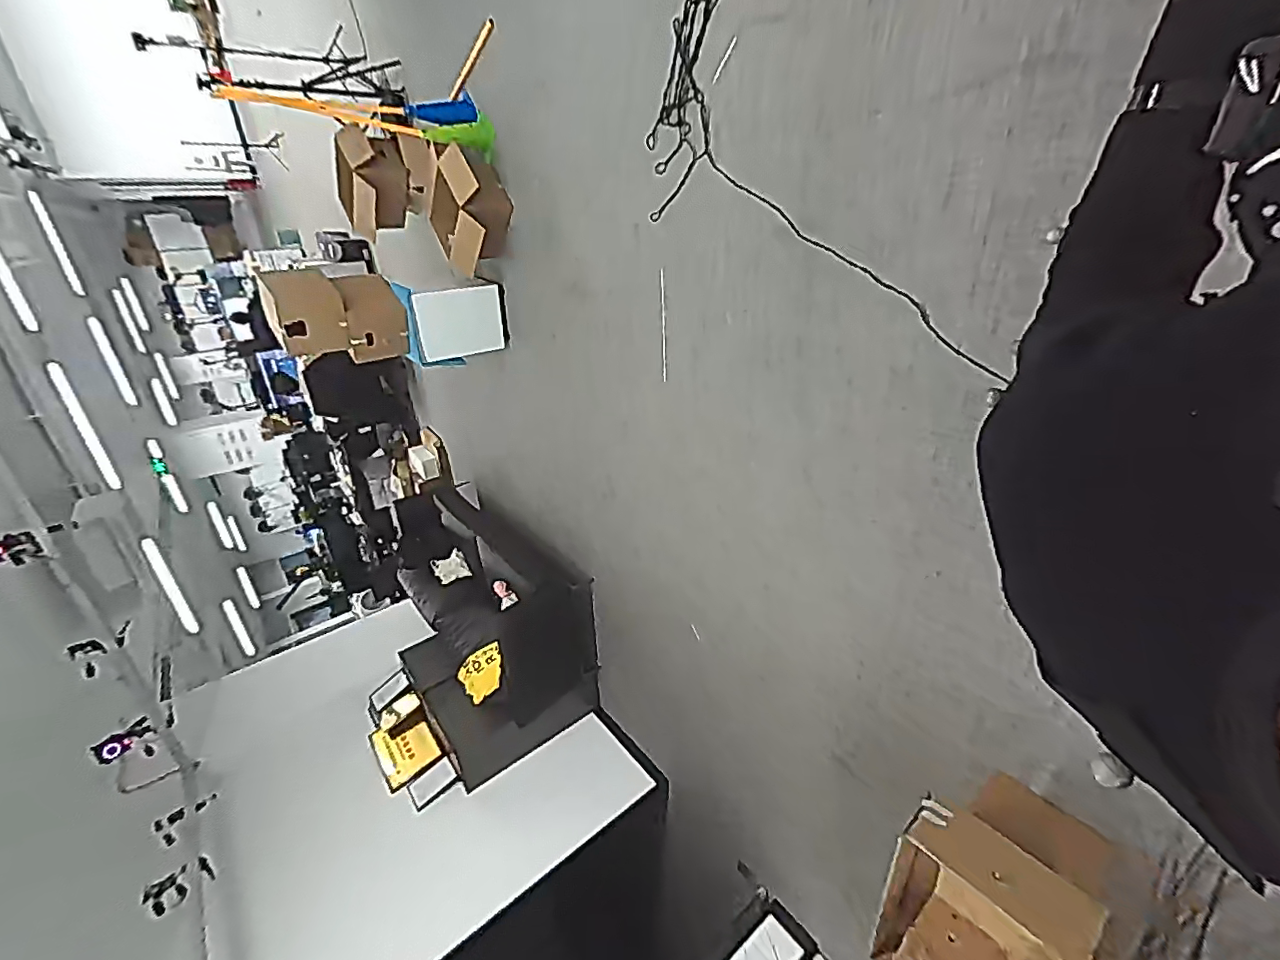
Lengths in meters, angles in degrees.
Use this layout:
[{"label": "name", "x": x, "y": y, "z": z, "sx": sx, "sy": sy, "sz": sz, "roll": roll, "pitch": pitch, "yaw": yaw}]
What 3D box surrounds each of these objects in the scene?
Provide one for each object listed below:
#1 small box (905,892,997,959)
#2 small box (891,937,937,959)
[{"label": "small box", "x": 0.819, "y": 1.262, "z": 1.439, "sx": 0.168, "sy": 0.176, "sz": 0.179, "roll": 23, "pitch": 122, "yaw": 48}, {"label": "small box", "x": 0.696, "y": 1.302, "z": 1.338, "sx": 0.168, "sy": 0.176, "sz": 0.179, "roll": 20, "pitch": 122, "yaw": 49}]
